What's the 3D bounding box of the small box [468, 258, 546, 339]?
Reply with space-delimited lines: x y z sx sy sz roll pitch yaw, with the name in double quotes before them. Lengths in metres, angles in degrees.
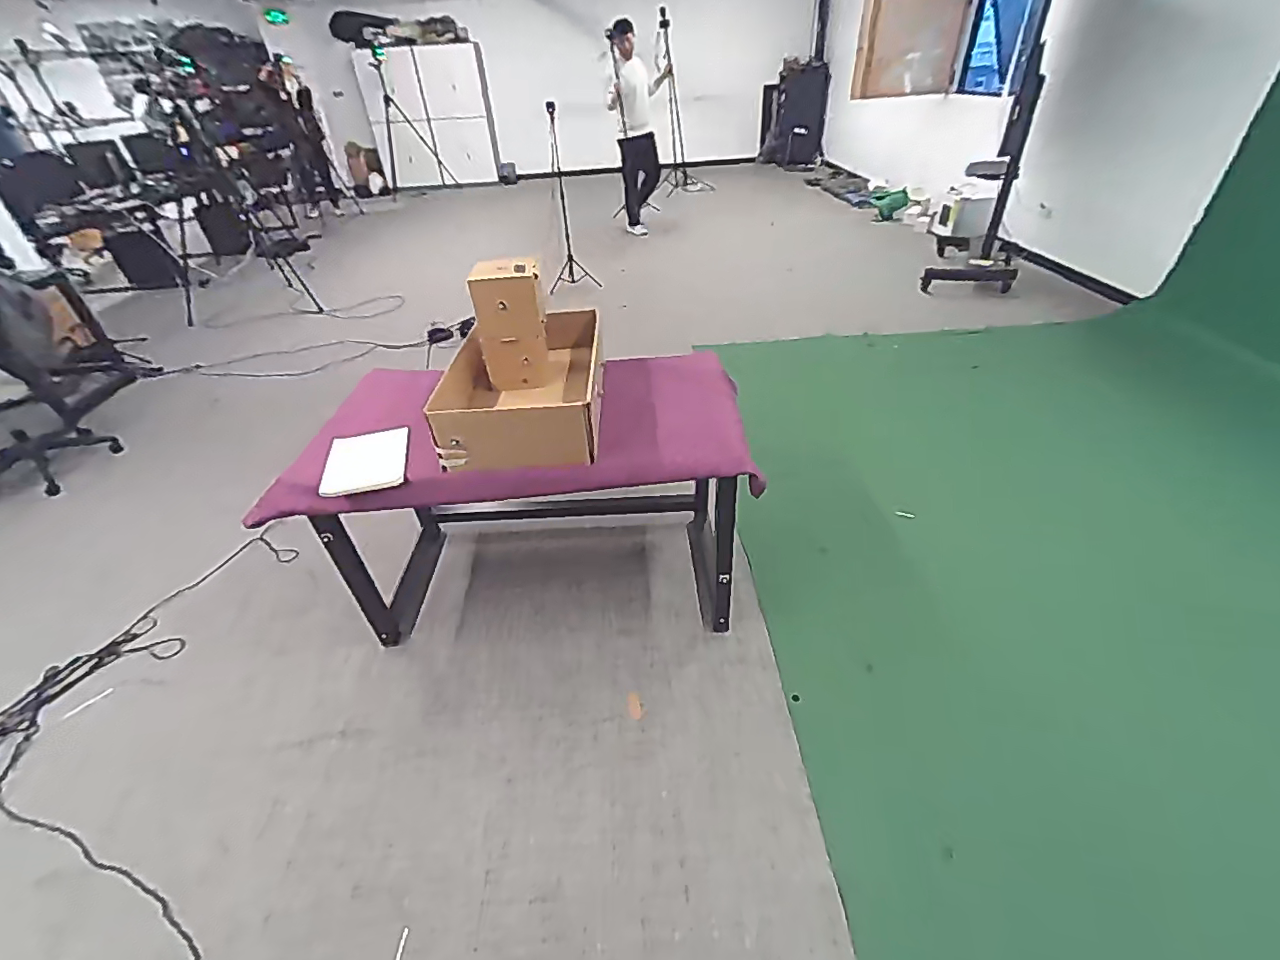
"small box" -0.367 -0.511 1.527 0.179 0.176 0.168 -5 38 -1
